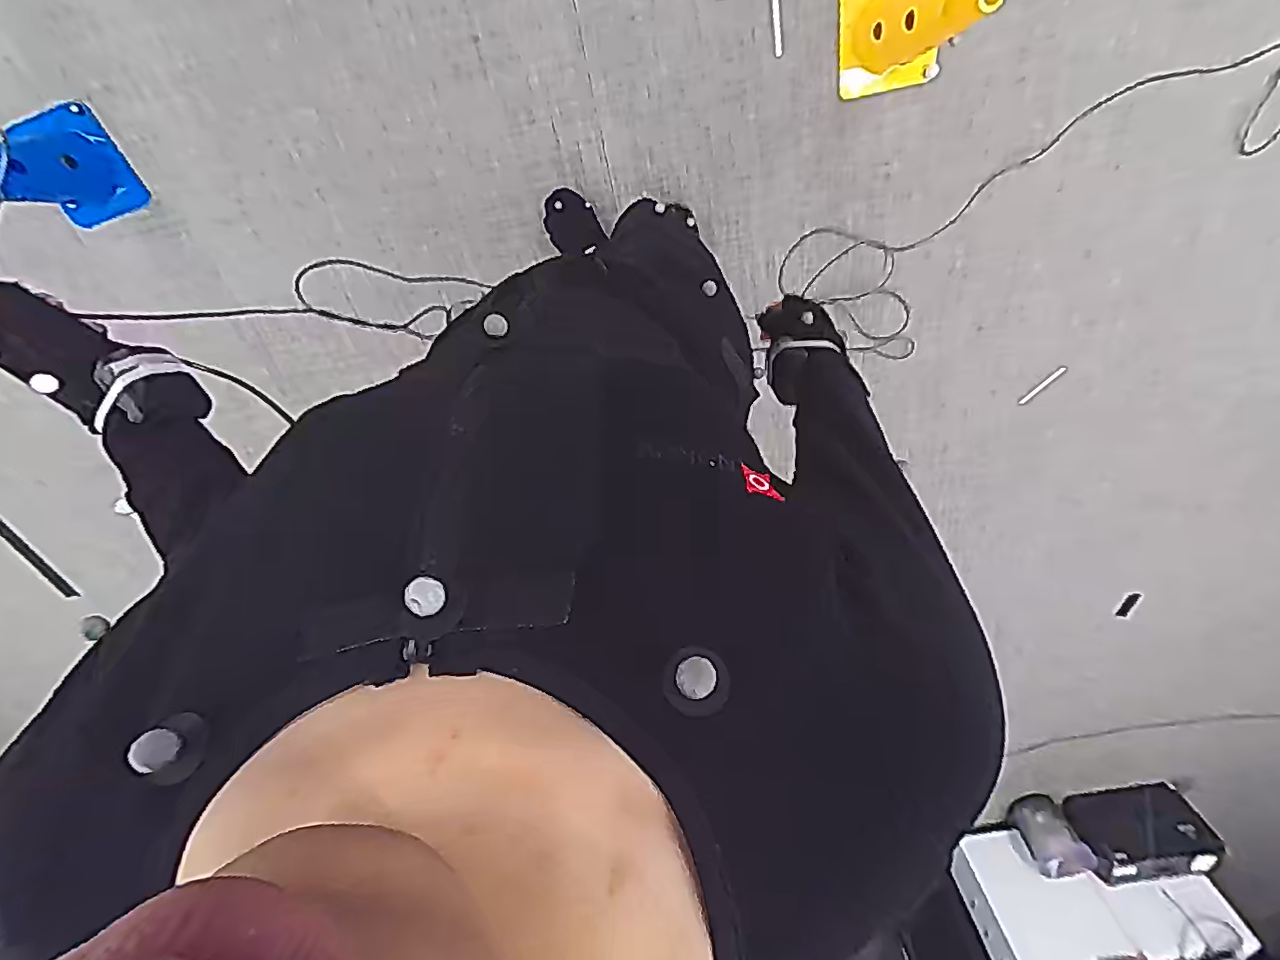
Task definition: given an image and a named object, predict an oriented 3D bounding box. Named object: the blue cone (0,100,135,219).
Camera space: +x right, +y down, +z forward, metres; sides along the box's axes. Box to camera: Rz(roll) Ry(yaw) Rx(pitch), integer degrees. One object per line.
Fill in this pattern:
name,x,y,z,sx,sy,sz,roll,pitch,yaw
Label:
blue cone,-1.197,-0.581,1.009,0.193,0.380,0.192,-15,122,7
